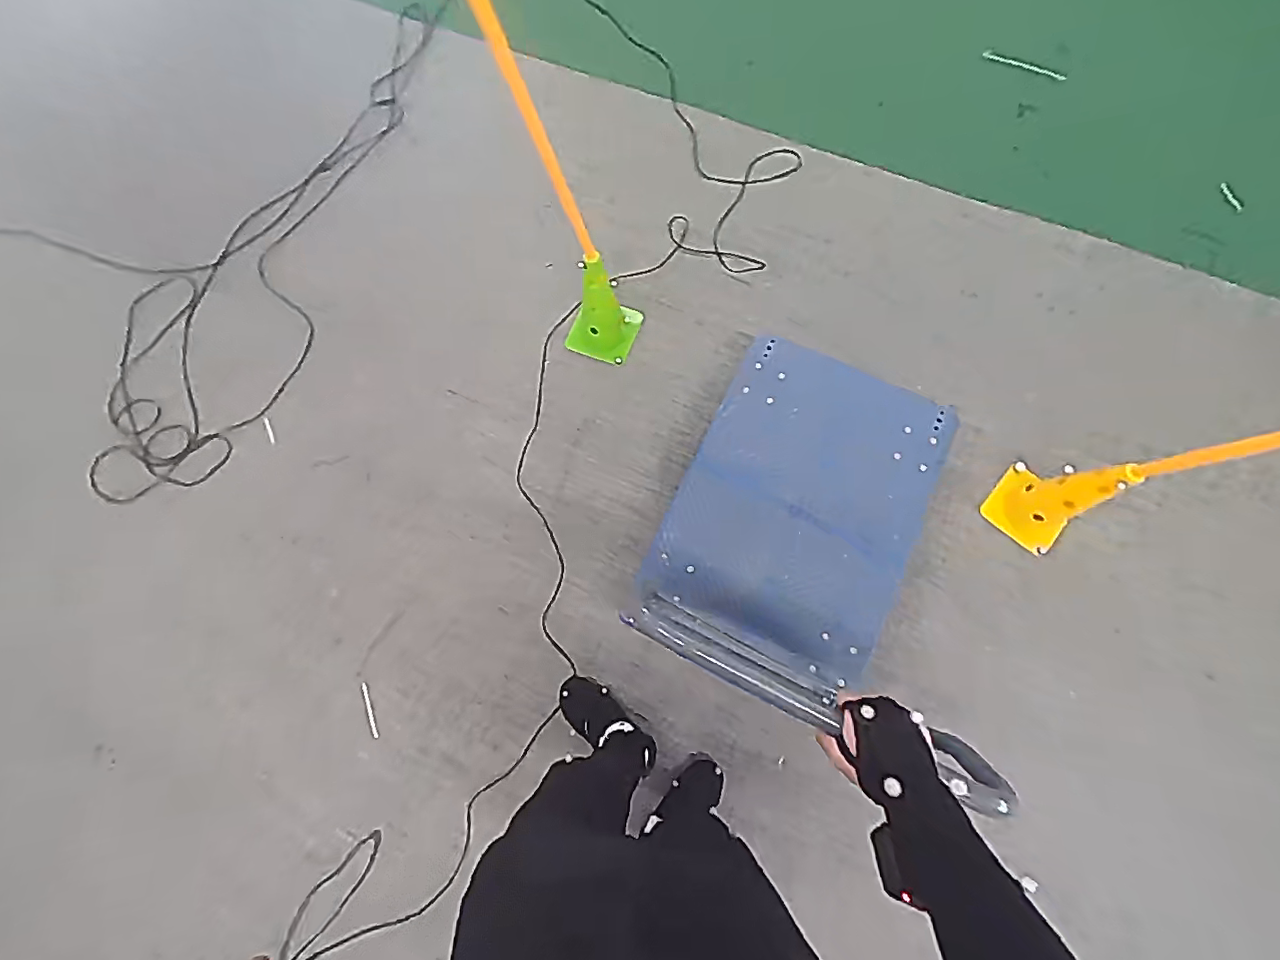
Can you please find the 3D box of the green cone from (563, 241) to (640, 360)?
[{"bbox_3d":[-0.126,-0.530,1.515,0.202,0.368,0.200,19,75,8],"label":"green cone"}]
